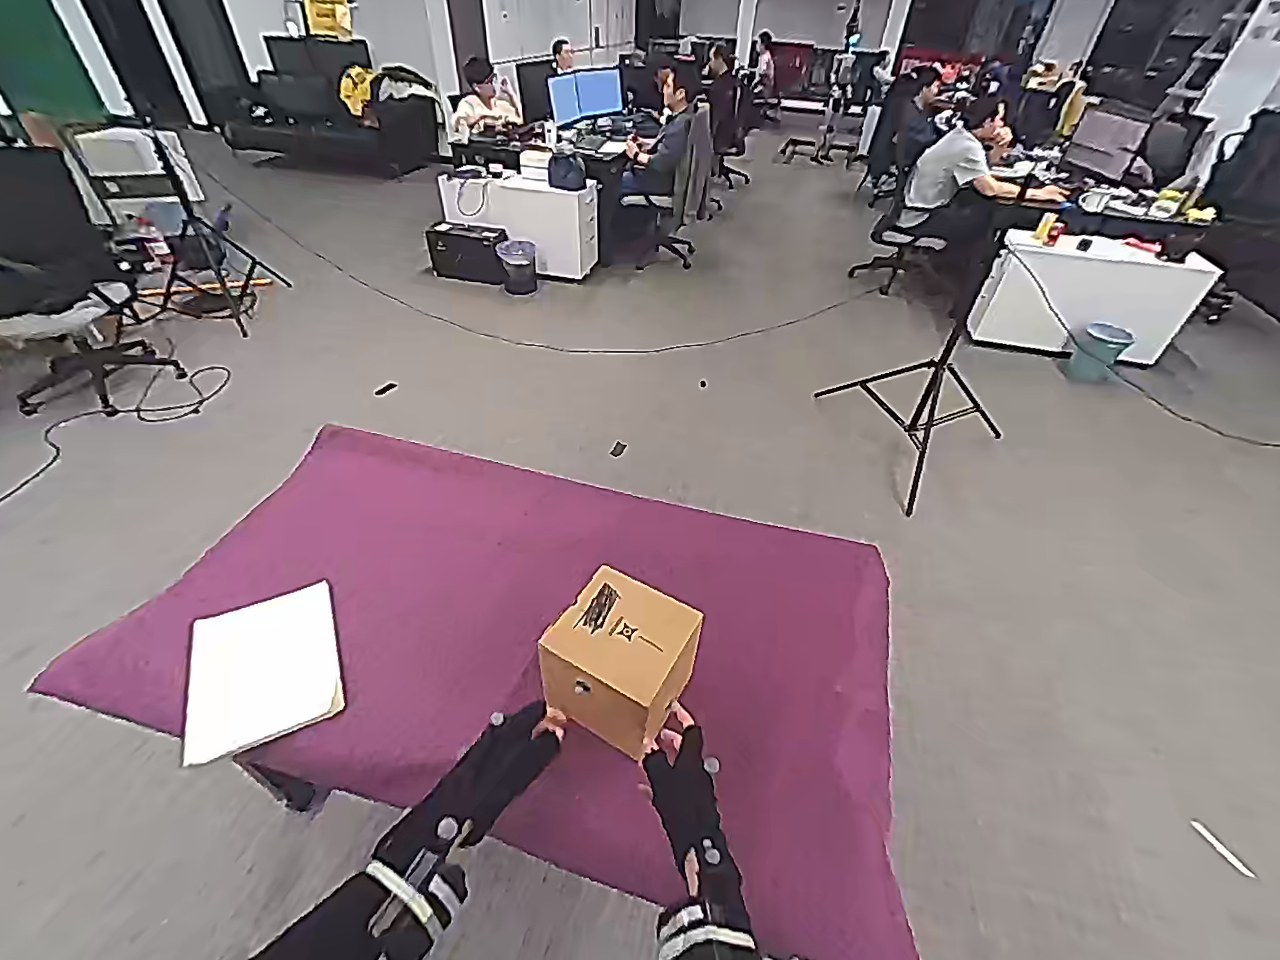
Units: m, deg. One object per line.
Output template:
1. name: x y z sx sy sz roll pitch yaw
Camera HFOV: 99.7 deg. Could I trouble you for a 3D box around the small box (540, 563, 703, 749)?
1. small box: -0.027 0.261 0.803 0.179 0.176 0.168 22 44 21
